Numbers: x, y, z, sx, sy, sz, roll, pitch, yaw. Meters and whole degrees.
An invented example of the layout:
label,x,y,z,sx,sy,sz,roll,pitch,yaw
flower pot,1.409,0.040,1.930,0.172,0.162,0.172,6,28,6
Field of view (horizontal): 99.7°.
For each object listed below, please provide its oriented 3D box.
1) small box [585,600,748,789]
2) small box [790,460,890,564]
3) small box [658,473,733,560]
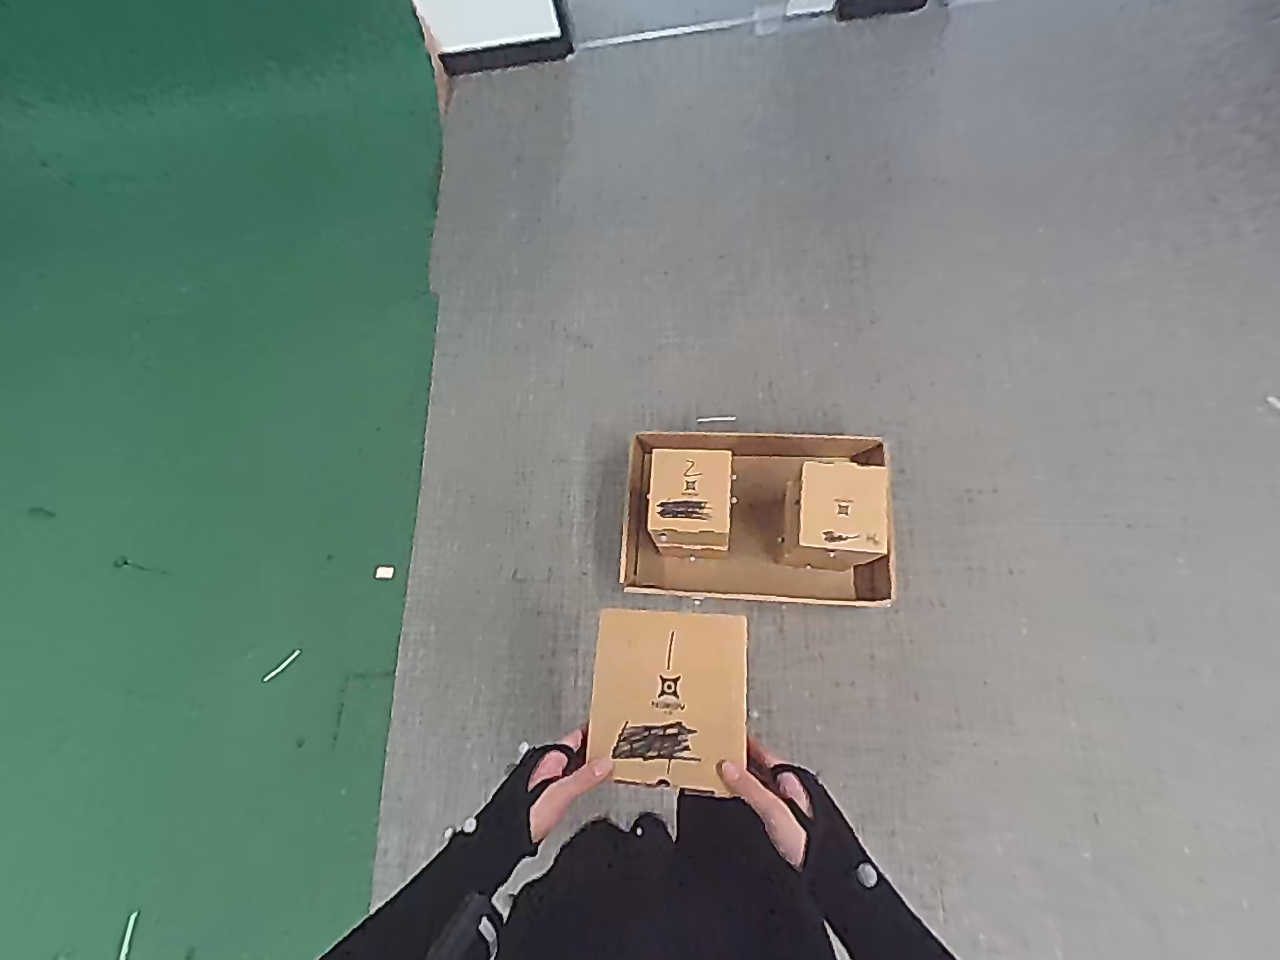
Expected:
label,x,y,z,sx,sy,sz,roll,pitch,yaw
small box,0.043,0.248,0.643,0.168,0.176,0.179,1,68,10
small box,0.410,0.071,1.127,0.168,0.176,0.179,5,75,9
small box,0.138,0.093,1.329,0.168,0.176,0.179,3,74,9
